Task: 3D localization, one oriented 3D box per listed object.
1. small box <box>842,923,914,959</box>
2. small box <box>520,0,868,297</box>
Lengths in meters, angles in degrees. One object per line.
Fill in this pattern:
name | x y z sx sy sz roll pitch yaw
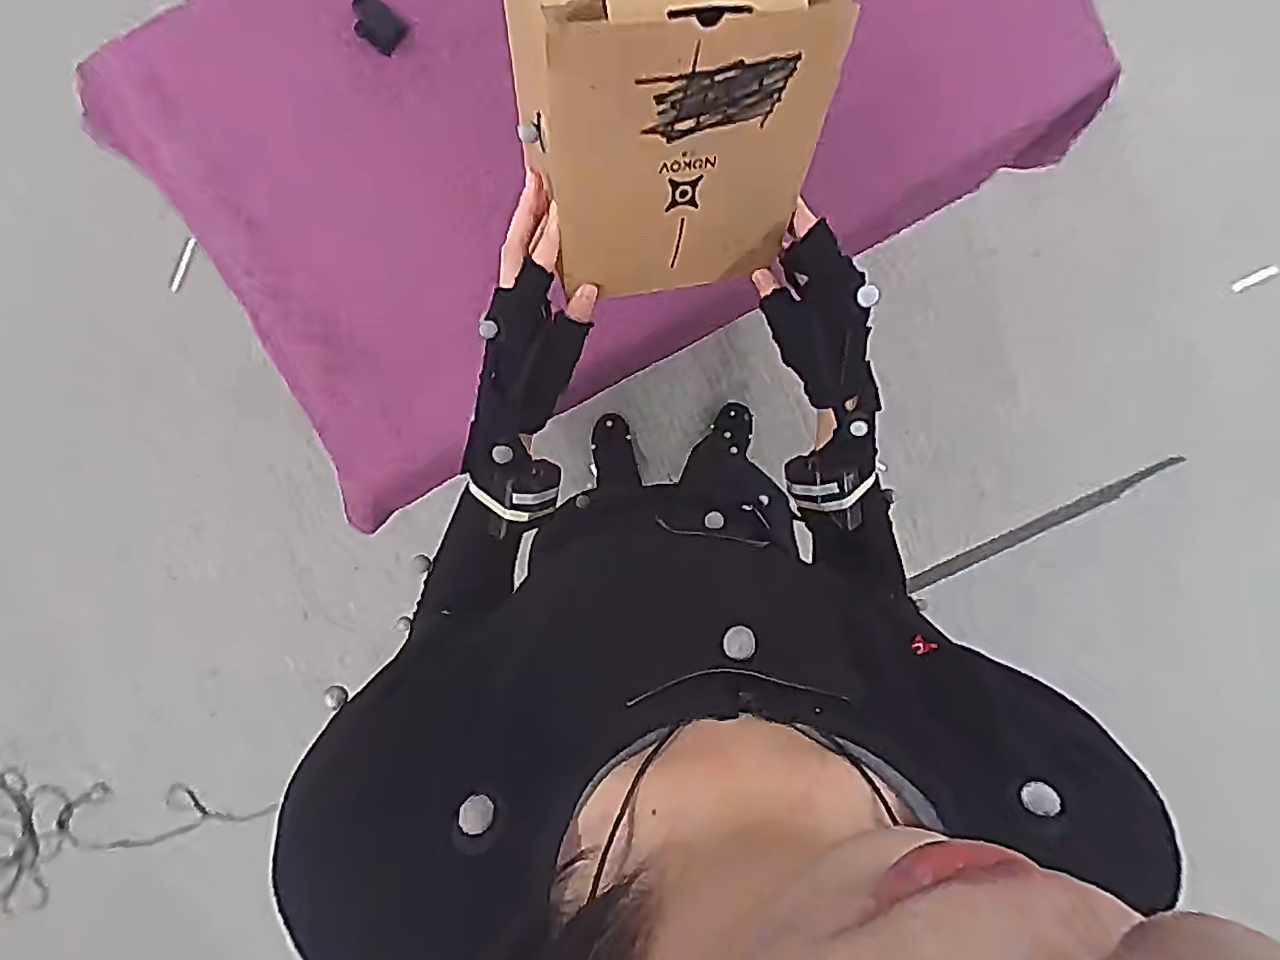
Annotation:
small box | 0.731 1.470 1.590 0.179 0.176 0.168 -23 96 -5
small box | 0.015 -0.260 0.373 0.168 0.179 0.176 -11 60 -10
